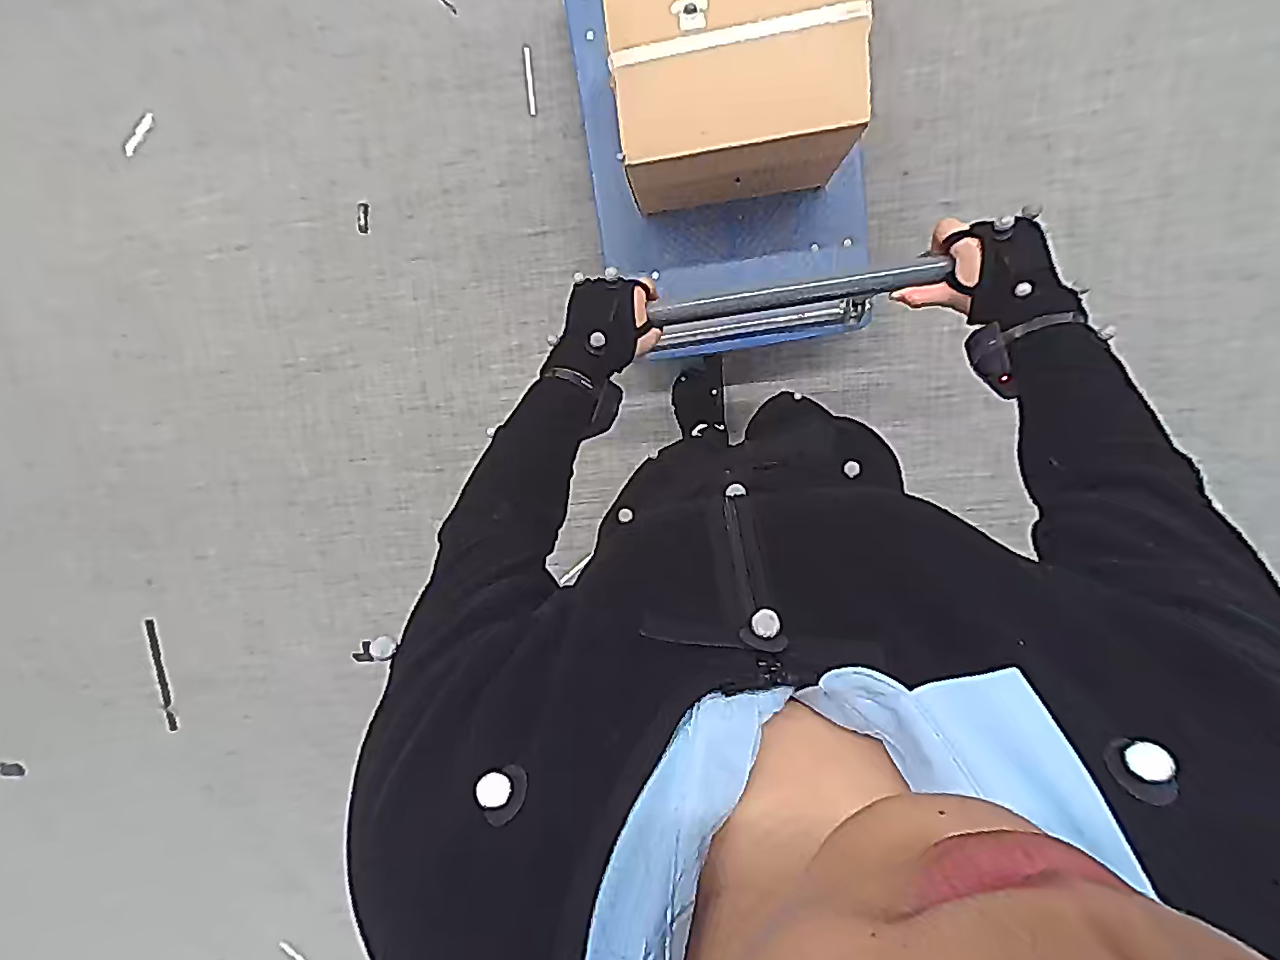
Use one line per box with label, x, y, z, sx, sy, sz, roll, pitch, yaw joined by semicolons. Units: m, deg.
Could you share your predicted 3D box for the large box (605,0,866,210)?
large box;0.171;-0.746;1.023;0.408;0.320;0.320;-6;100;8
